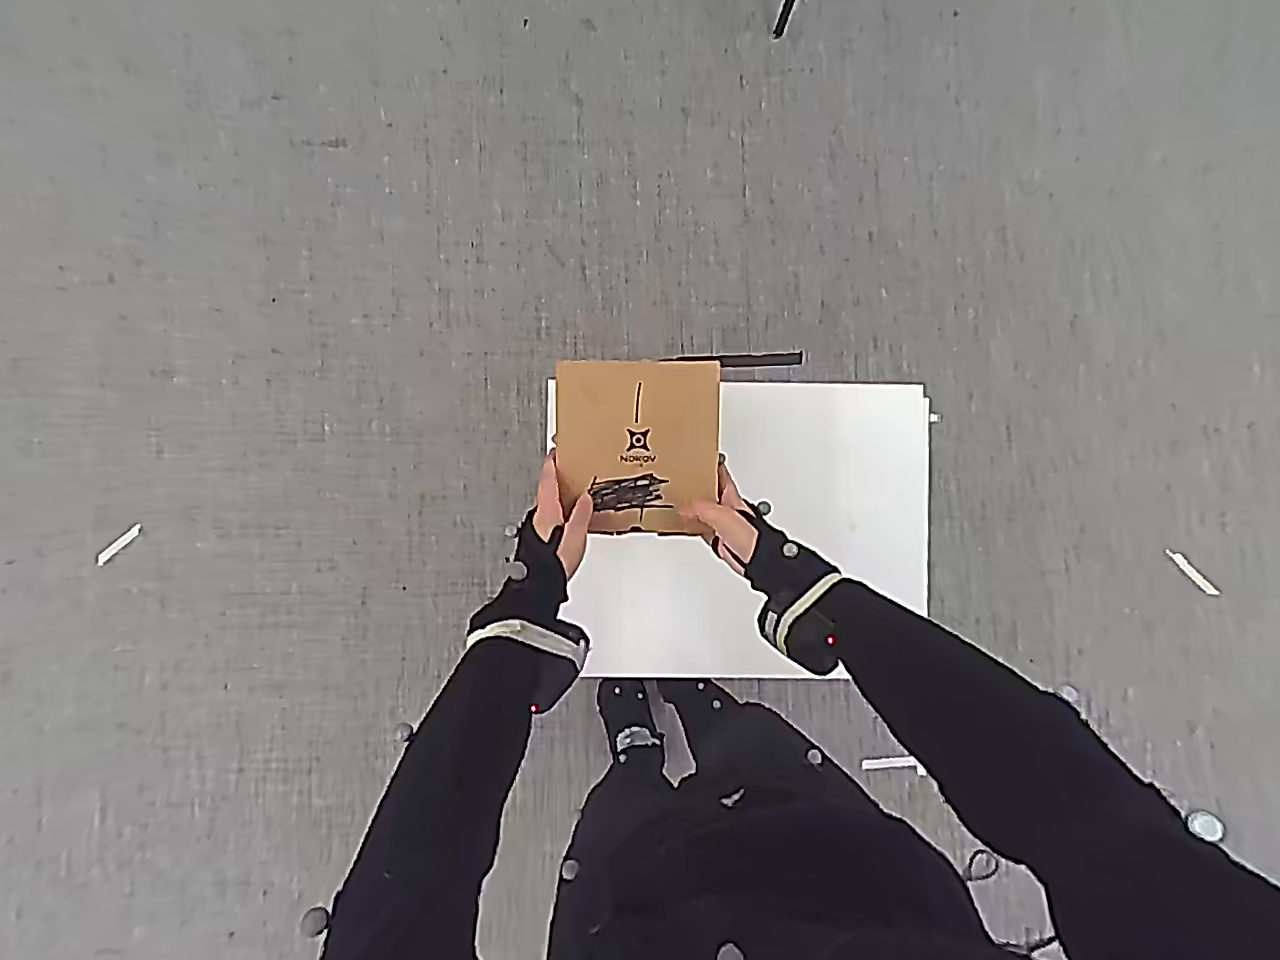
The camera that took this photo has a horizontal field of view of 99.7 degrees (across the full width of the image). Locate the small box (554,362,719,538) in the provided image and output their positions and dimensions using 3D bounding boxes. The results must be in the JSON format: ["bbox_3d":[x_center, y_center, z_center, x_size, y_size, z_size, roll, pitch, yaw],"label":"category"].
[{"bbox_3d":[-0.002,-0.036,0.621,0.168,0.176,0.179,1,94,1],"label":"small box"}]
